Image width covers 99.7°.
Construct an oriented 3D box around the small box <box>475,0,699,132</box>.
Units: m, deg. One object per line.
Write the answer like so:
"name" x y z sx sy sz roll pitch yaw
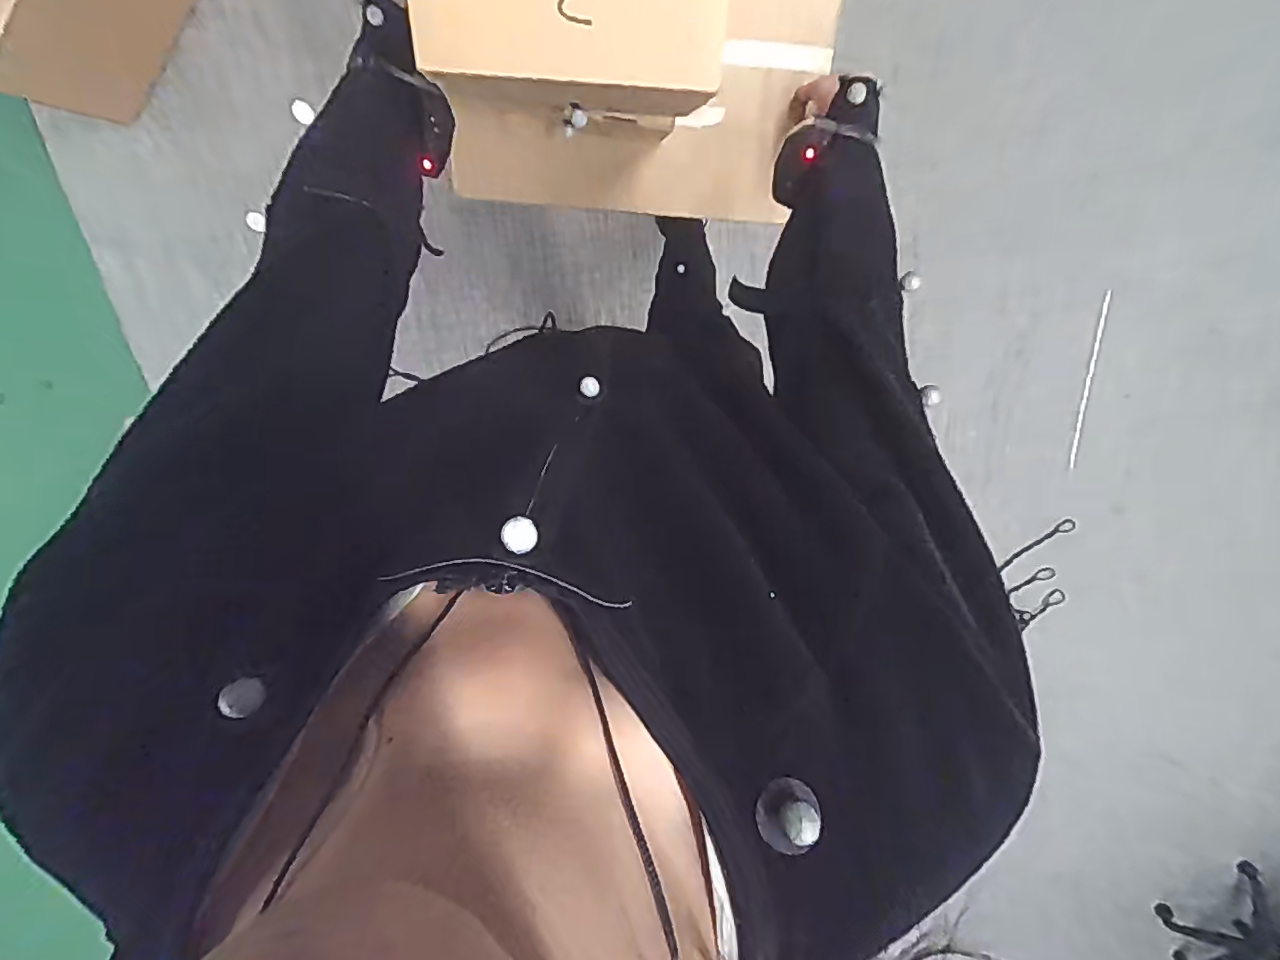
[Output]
"small box" -0.039 -0.417 0.460 0.168 0.176 0.179 7 119 -6
